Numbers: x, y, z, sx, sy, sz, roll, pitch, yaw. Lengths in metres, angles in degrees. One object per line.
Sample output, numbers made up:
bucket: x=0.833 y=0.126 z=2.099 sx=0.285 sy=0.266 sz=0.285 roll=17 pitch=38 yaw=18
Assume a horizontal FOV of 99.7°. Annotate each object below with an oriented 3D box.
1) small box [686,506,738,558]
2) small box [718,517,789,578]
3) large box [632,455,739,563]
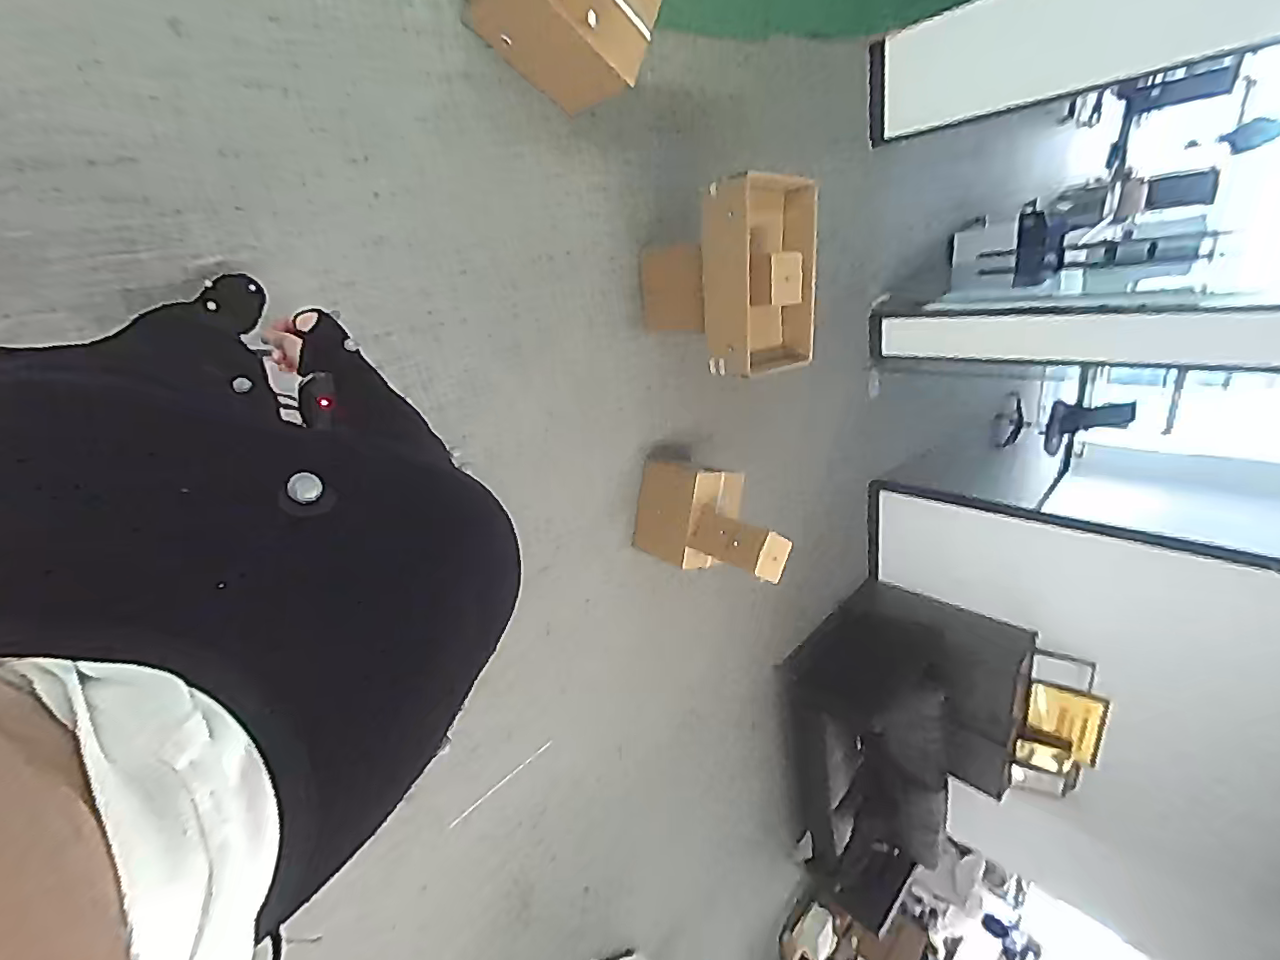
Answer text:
small box: x=0.314 y=0.214 z=2.147 sx=0.179 sy=0.176 sz=0.168 roll=28 pitch=82 yaw=-44
small box: x=0.425 y=0.250 z=2.028 sx=0.179 sy=0.176 sz=0.168 roll=26 pitch=83 yaw=-43
large box: x=0.191 y=0.113 z=2.346 sx=0.320 sy=0.320 sz=0.408 roll=0 pitch=101 yaw=-44
